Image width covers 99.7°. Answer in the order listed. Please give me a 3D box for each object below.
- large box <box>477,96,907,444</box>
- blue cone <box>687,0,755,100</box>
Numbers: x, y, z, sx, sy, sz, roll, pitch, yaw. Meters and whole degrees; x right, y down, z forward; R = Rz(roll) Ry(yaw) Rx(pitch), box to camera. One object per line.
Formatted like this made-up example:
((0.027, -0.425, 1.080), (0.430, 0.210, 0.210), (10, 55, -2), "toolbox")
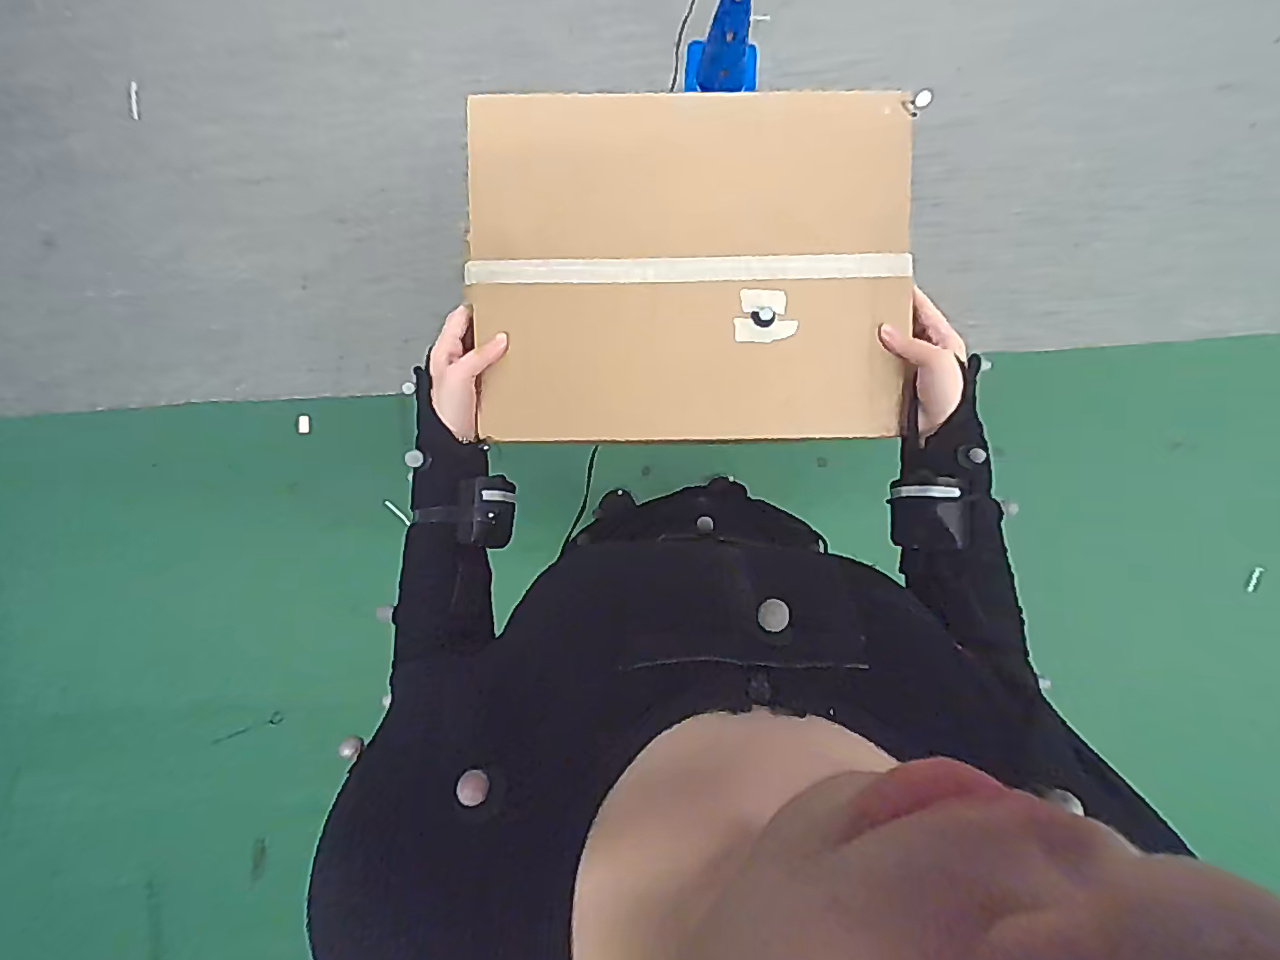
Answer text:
((0.047, -0.206, 0.654), (0.408, 0.320, 0.320), (-1, 94, -1), "large box")
((0.229, -1.130, 1.369), (0.193, 0.380, 0.192), (4, 89, 0), "blue cone")
